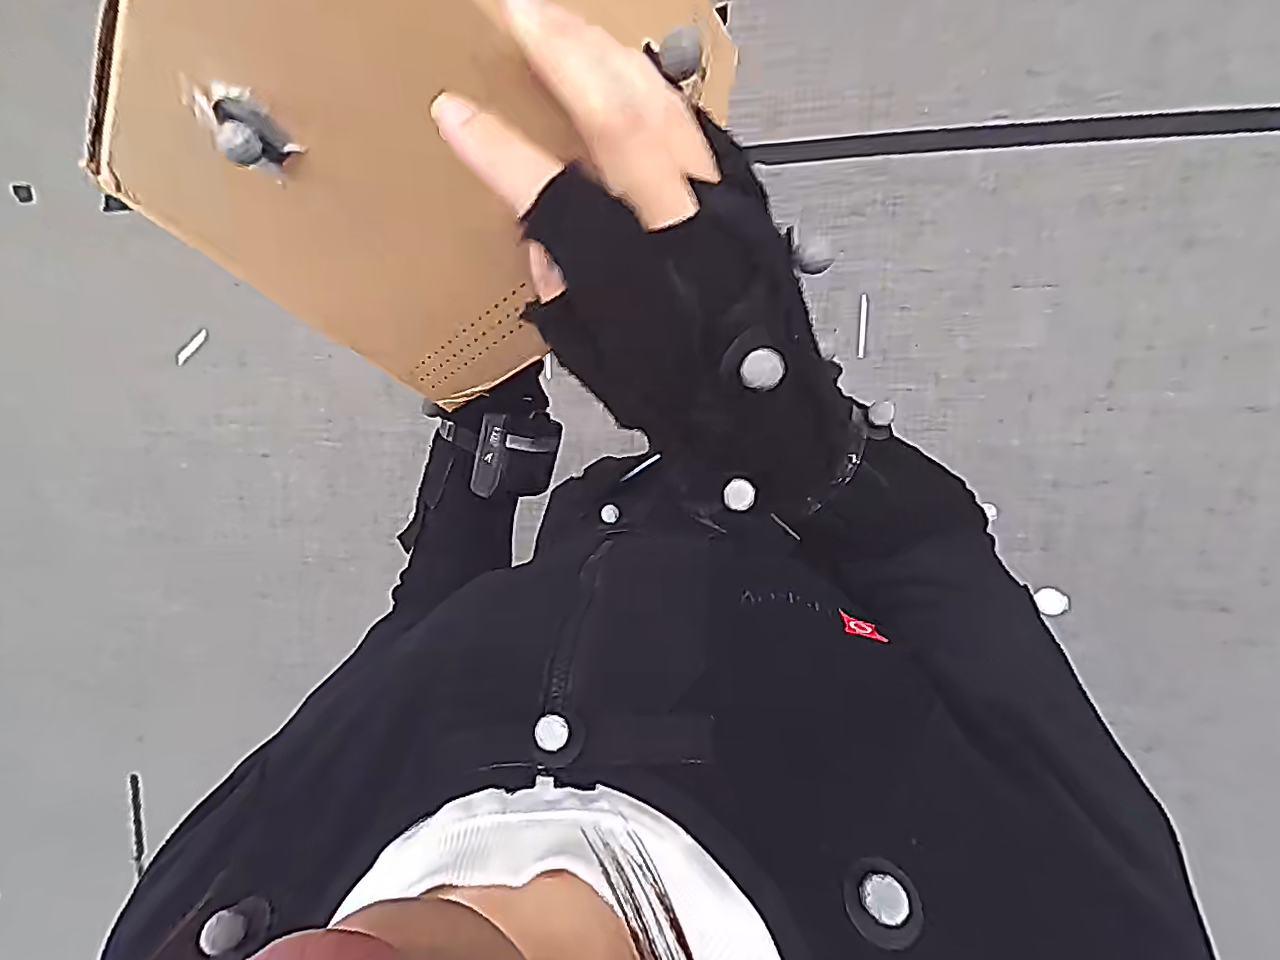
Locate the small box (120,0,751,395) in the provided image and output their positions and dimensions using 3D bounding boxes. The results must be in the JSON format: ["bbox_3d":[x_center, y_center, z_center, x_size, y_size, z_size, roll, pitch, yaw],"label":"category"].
[{"bbox_3d":[-0.075,-0.164,0.244,0.179,0.168,0.176,-15,141,42],"label":"small box"}]
